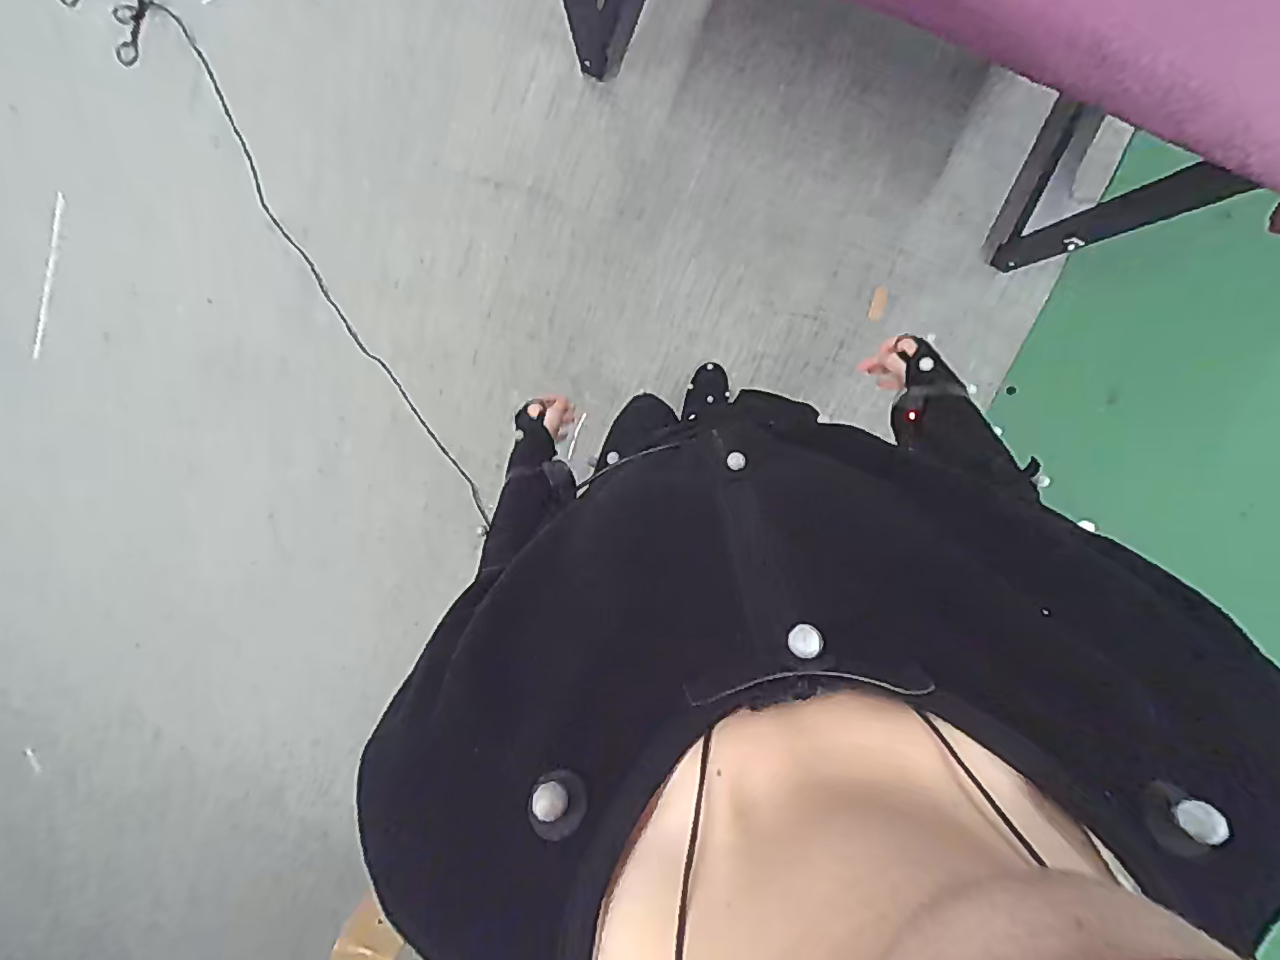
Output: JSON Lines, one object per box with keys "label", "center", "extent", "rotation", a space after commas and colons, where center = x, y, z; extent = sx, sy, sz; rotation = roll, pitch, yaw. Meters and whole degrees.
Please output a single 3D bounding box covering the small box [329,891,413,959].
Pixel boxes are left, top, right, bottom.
{"label": "small box", "center": [-0.772, 1.329, 1.538], "extent": [0.168, 0.176, 0.179], "rotation": [20, 100, -1]}
